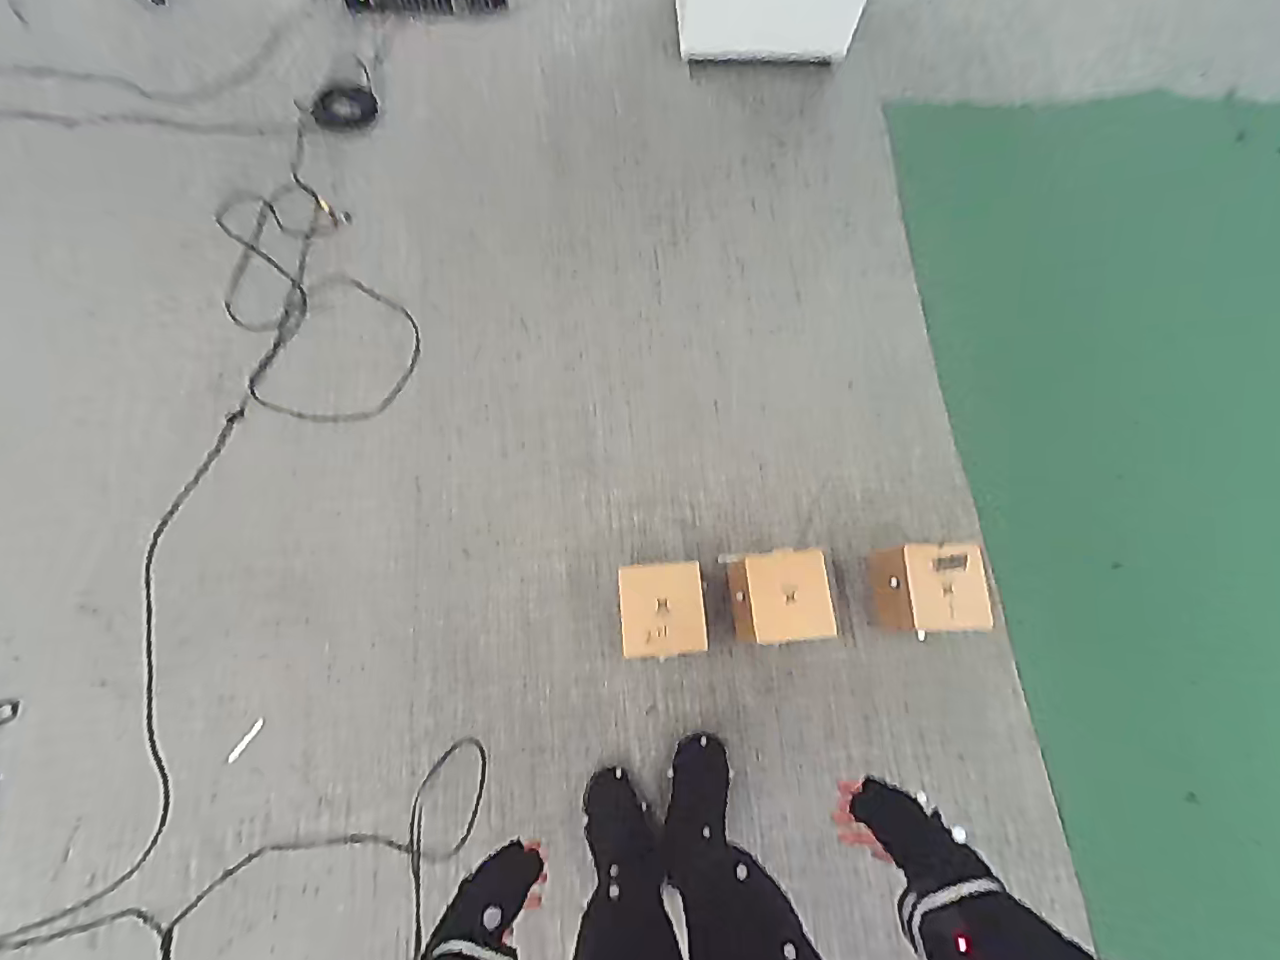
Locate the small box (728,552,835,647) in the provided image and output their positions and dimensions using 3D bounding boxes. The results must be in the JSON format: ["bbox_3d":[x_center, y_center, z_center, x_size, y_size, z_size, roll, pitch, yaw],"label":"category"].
[{"bbox_3d":[0.295,0.259,1.161,0.168,0.176,0.179,-4,73,-5],"label":"small box"}]

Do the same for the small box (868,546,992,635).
[{"bbox_3d":[0.620,0.245,1.181,0.168,0.176,0.179,-1,74,-3],"label":"small box"}]

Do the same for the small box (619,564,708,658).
[{"bbox_3d":[0.041,0.279,1.139,0.168,0.176,0.179,-4,73,-3],"label":"small box"}]
